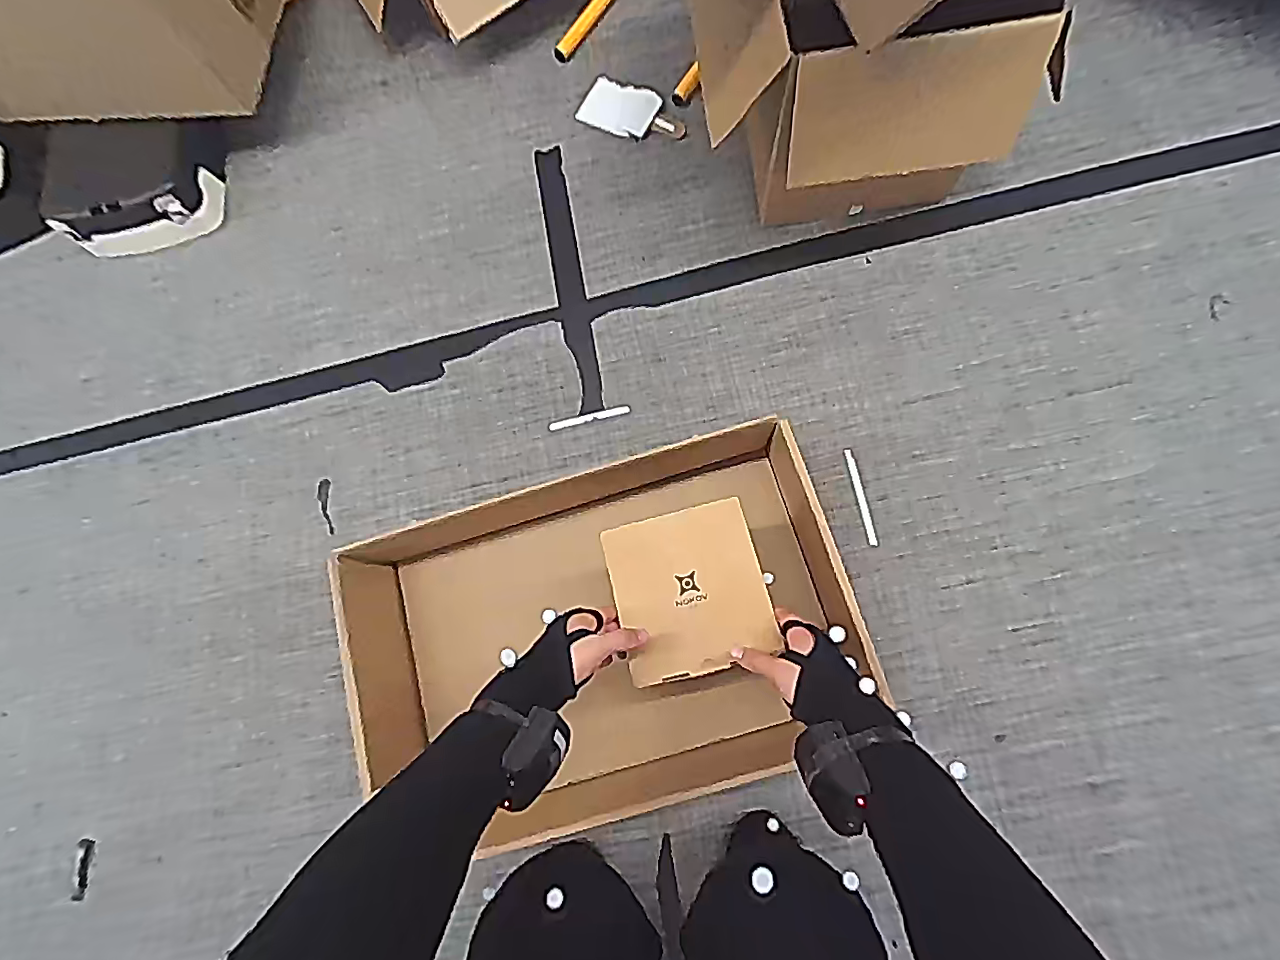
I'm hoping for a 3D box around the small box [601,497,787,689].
[{"bbox_3d":[0.060,0.144,0.659,0.168,0.176,0.179,-16,71,1],"label":"small box"}]
